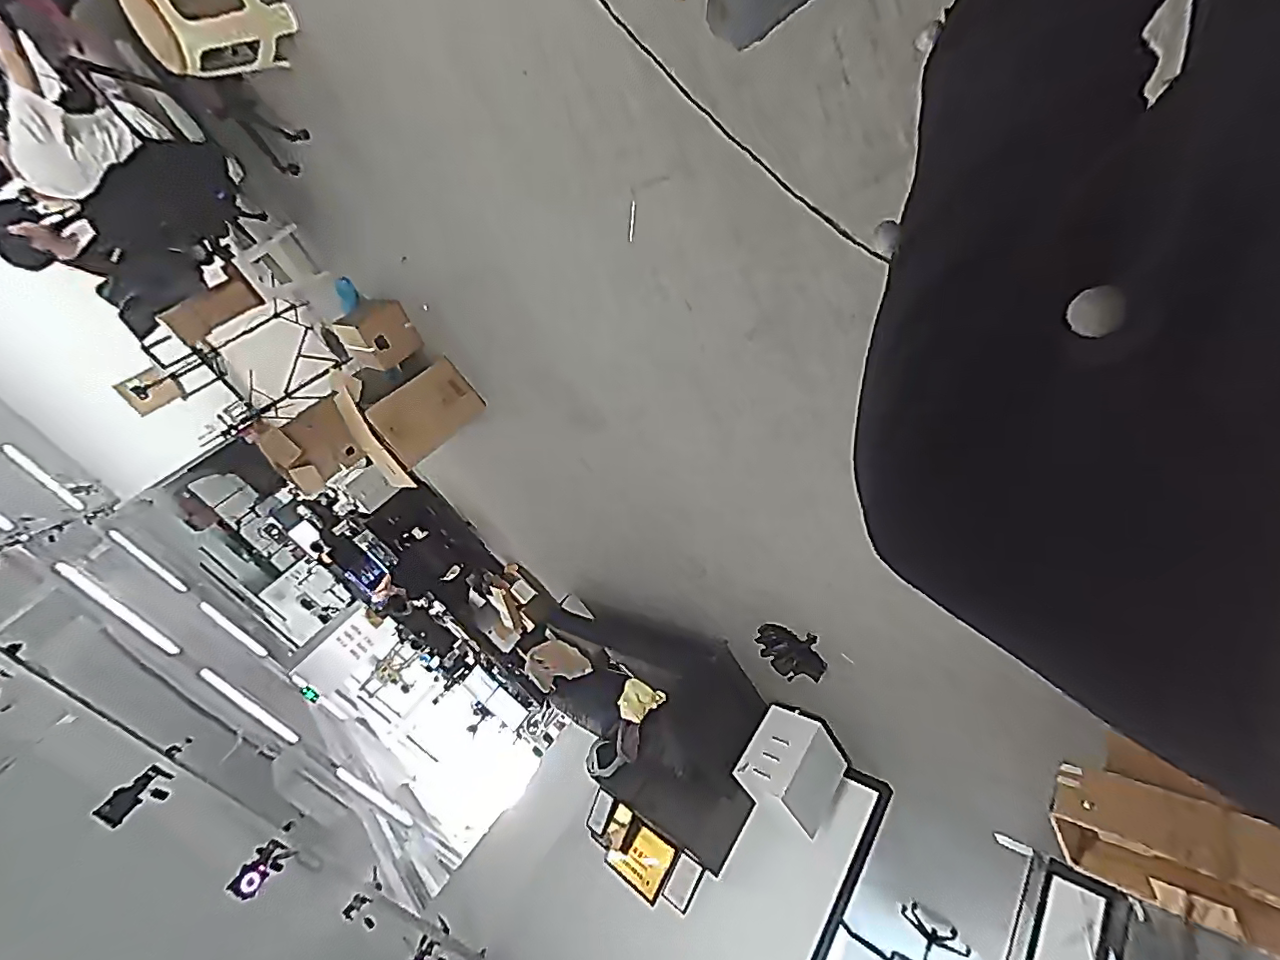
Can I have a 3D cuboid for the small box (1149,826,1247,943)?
[{"bbox_3d":[1.553,1.114,1.503,0.168,0.176,0.179,-5,126,53],"label":"small box"}]
